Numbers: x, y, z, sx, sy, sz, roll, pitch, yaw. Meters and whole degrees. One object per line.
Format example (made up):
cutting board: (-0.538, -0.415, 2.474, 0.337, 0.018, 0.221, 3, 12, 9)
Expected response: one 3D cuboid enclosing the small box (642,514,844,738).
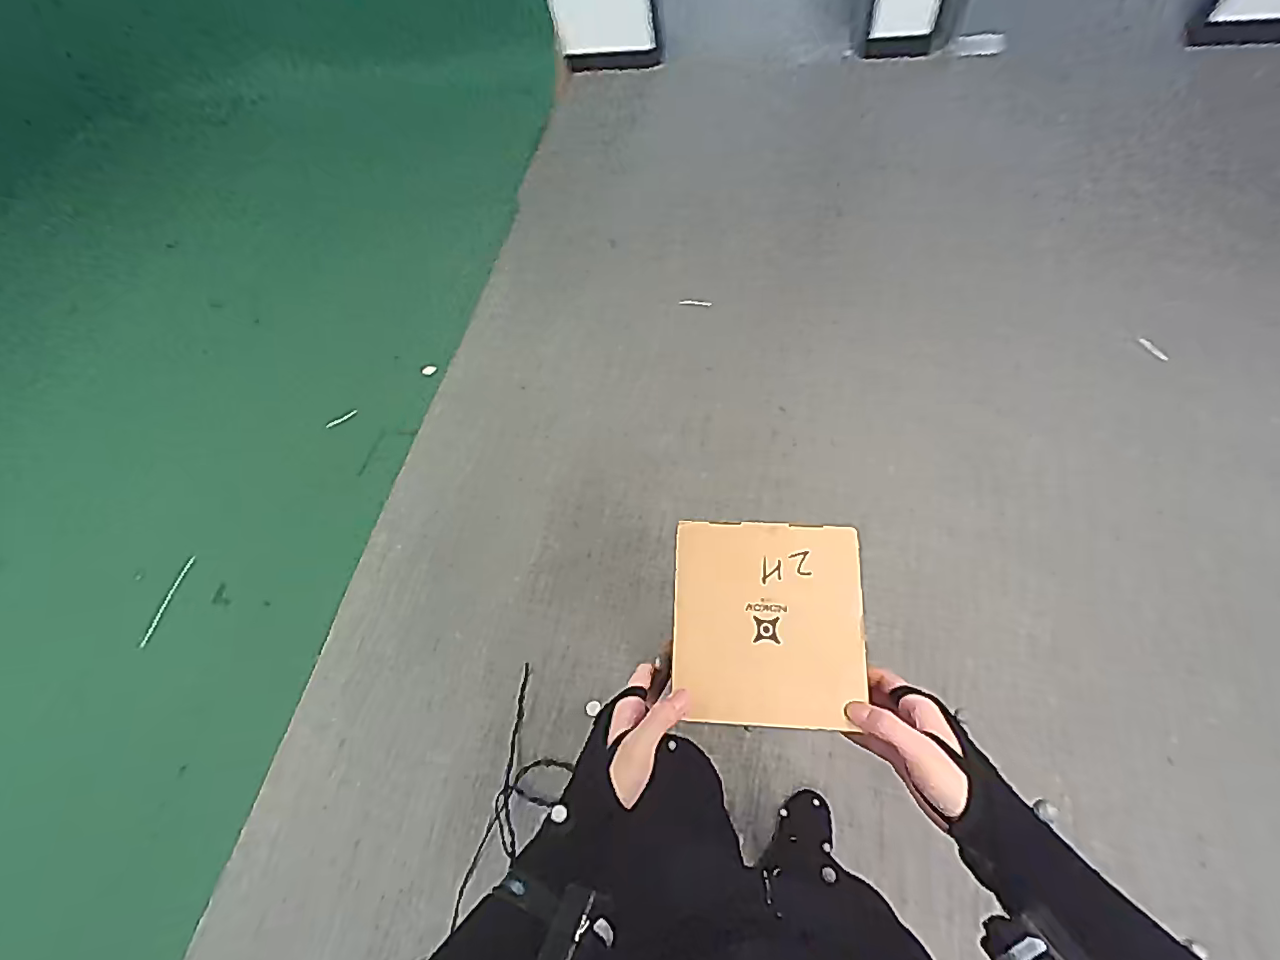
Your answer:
small box: (0.095, 0.140, 0.536, 0.168, 0.176, 0.179, 3, 74, 4)
